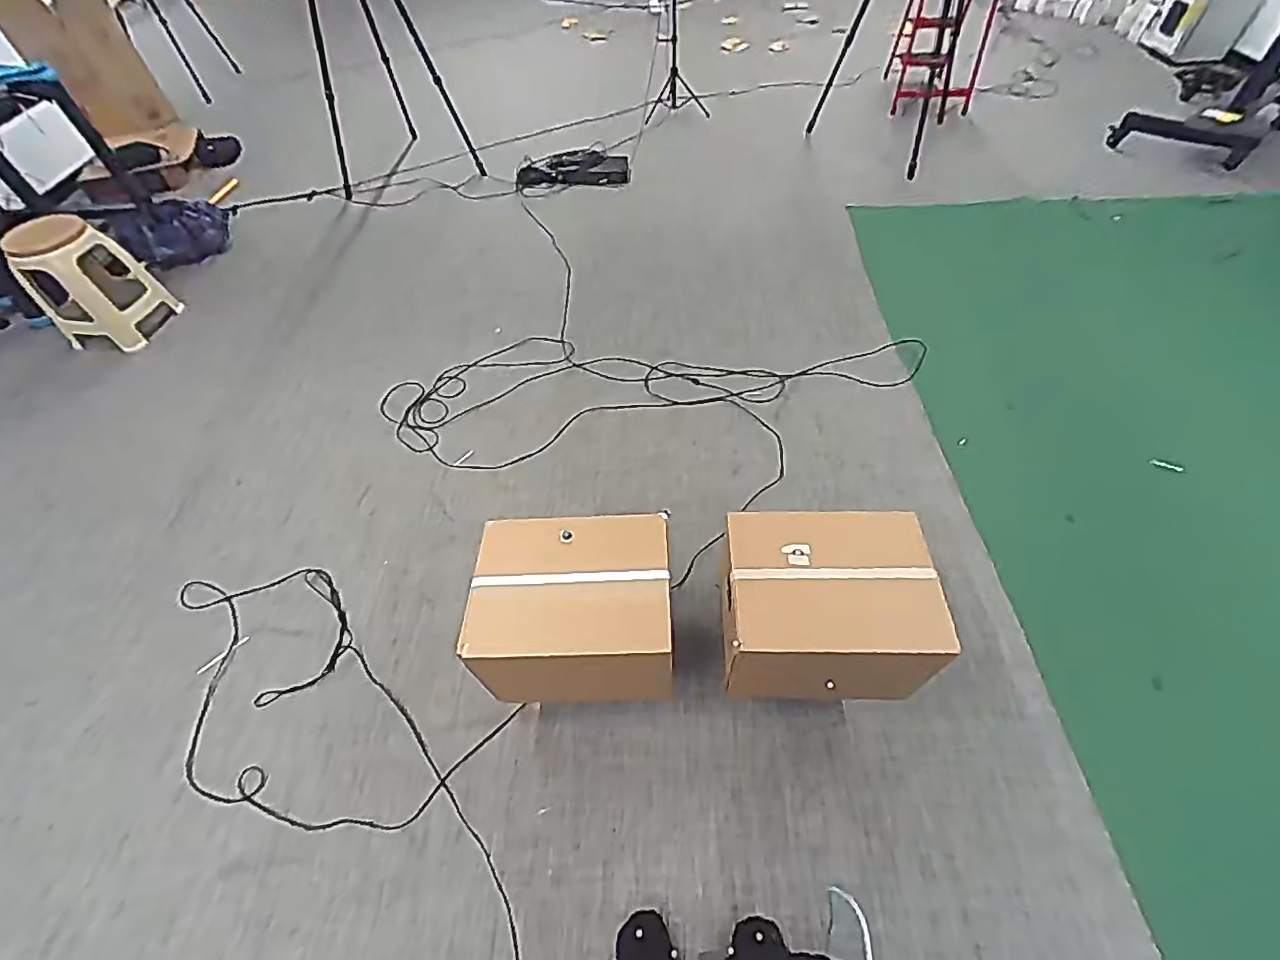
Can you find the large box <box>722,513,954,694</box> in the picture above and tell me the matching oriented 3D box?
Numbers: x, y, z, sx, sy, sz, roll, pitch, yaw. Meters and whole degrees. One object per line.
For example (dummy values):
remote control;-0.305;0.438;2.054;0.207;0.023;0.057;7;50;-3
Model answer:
large box;0.402;0.286;1.220;0.408;0.320;0.320;-1;53;4
